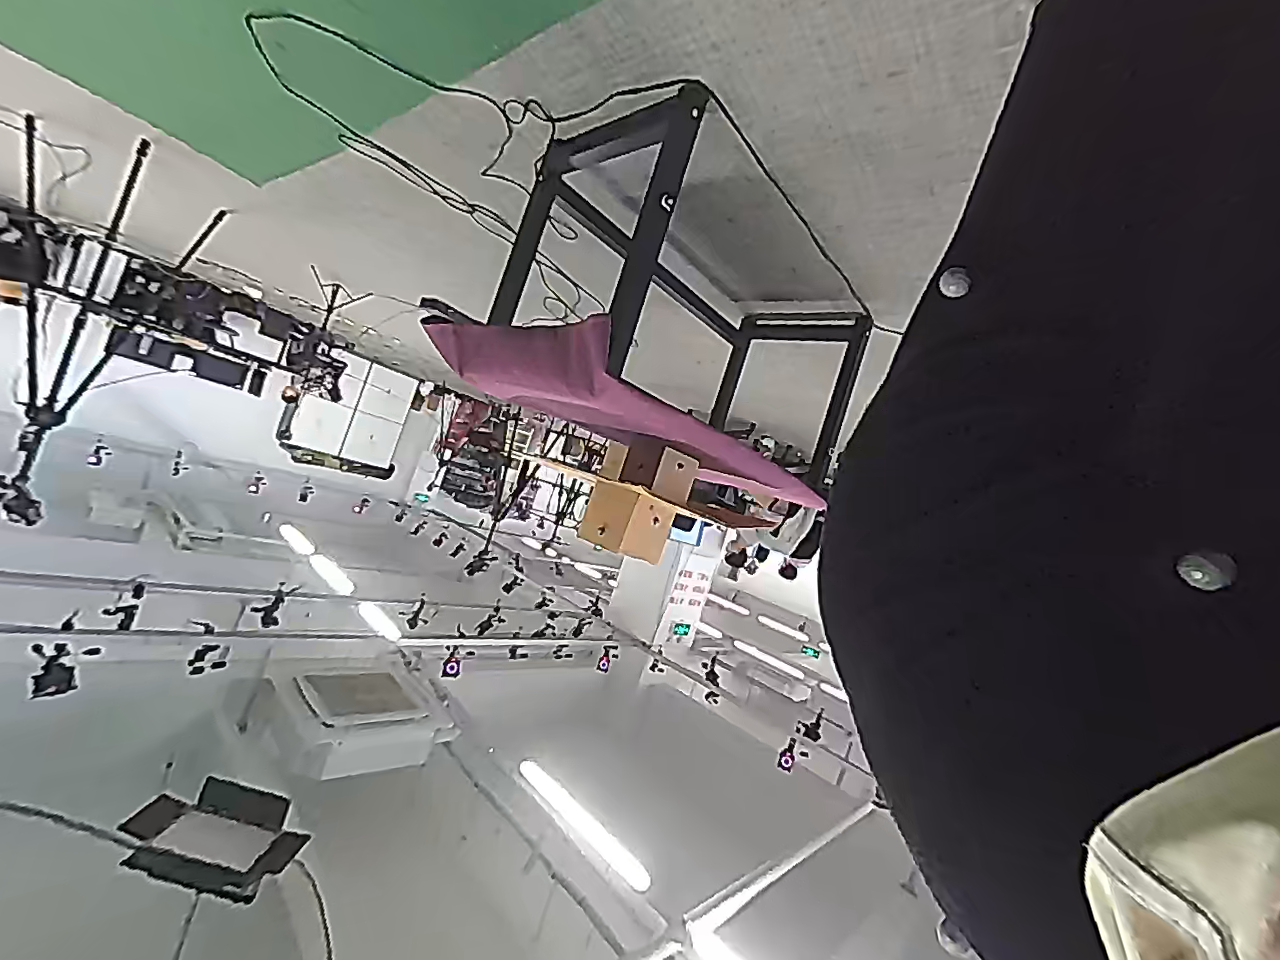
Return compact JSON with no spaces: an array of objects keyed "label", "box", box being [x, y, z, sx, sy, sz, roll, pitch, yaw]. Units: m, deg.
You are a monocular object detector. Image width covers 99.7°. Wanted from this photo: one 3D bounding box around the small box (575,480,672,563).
[{"label":"small box","box":[-0.041,0.107,1.468,0.179,0.176,0.168,14,174,44]}]
